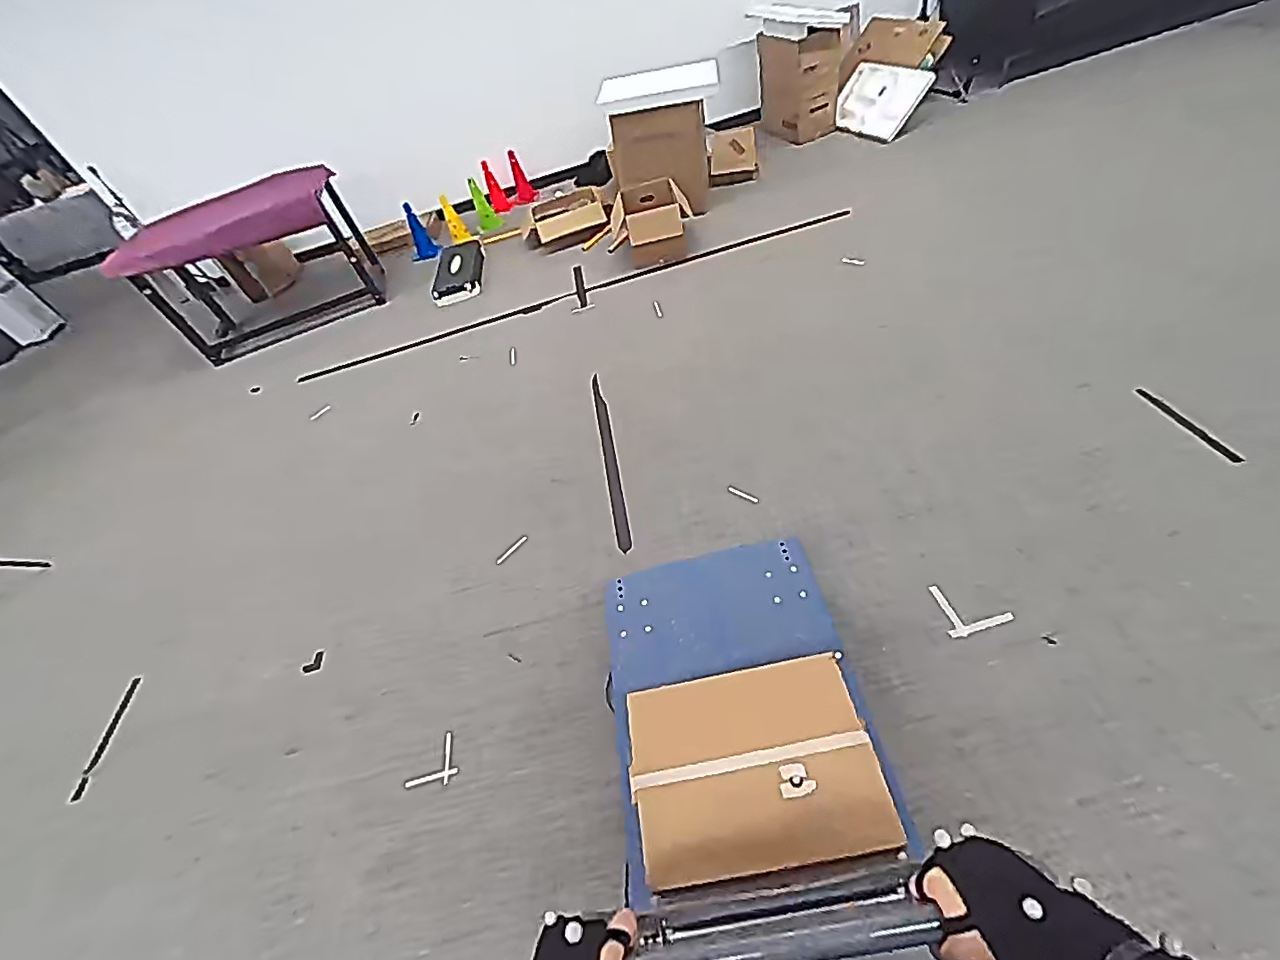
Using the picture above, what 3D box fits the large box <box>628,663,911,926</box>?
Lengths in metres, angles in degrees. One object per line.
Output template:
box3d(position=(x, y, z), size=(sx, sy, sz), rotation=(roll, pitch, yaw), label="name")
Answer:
box3d(position=(0.214, 0.590, 1.009), size=(0.408, 0.320, 0.320), rotation=(-13, 47, 3), label="large box")
